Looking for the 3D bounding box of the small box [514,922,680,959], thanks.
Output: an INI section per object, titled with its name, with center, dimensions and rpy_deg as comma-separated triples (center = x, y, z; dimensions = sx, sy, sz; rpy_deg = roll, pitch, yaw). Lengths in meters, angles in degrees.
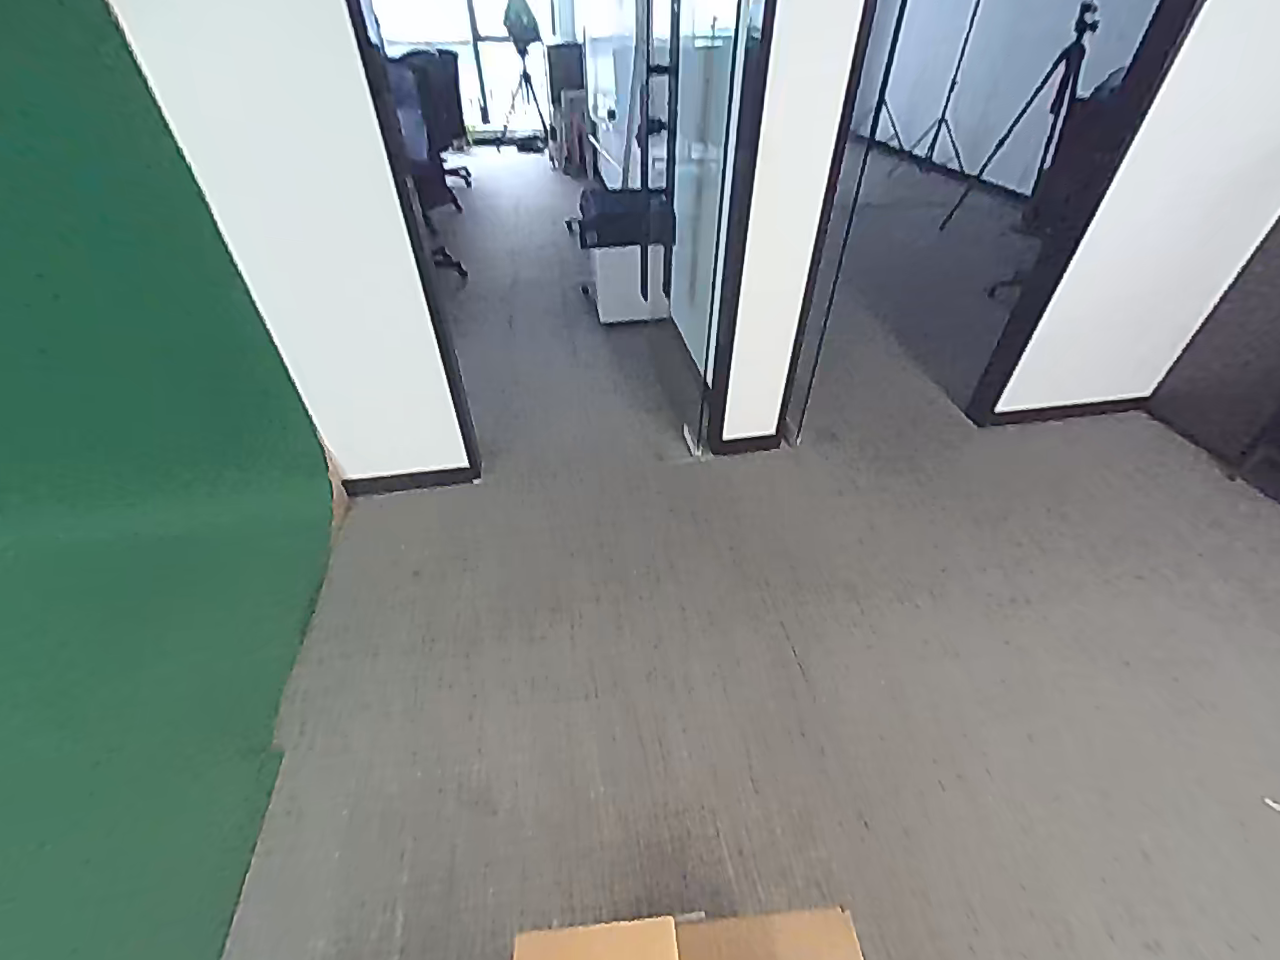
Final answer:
[small box]
center = -0.041, 0.599, 0.575
dimensions = 0.179, 0.176, 0.168
rpy_deg = -4, 40, -3
